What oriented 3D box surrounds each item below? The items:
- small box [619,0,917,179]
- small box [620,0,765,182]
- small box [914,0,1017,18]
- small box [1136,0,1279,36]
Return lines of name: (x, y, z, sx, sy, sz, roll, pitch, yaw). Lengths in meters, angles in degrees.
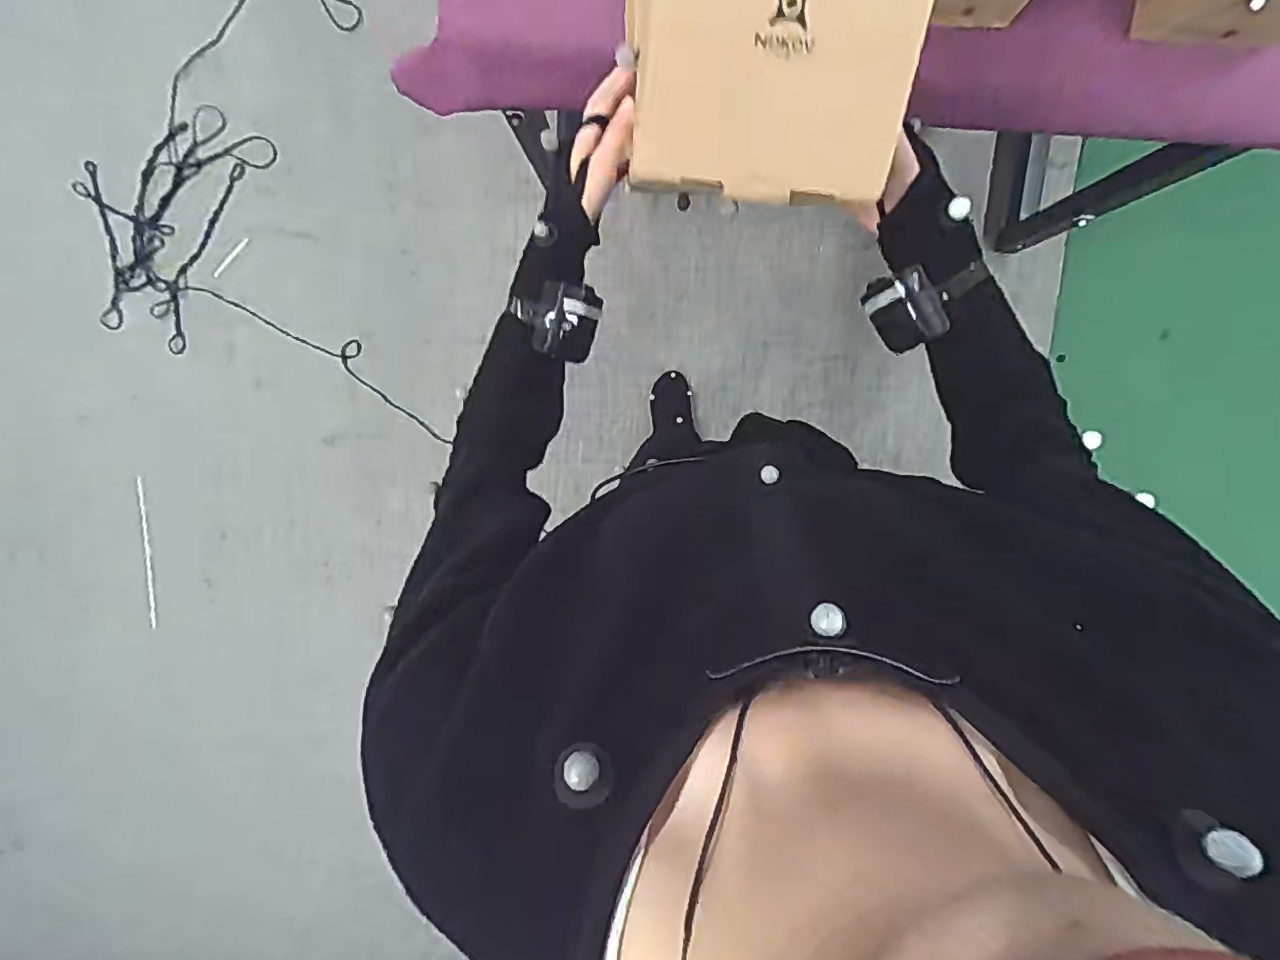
small box: (0.077, -0.318, 0.377, 0.168, 0.176, 0.179, 5, 117, -4)
small box: (0.066, -0.398, 0.523, 0.168, 0.176, 0.179, 0, 116, -4)
small box: (0.376, -0.650, 0.585, 0.168, 0.176, 0.179, 3, 96, 2)
small box: (0.689, -0.621, 0.574, 0.168, 0.176, 0.179, 7, 97, 2)
